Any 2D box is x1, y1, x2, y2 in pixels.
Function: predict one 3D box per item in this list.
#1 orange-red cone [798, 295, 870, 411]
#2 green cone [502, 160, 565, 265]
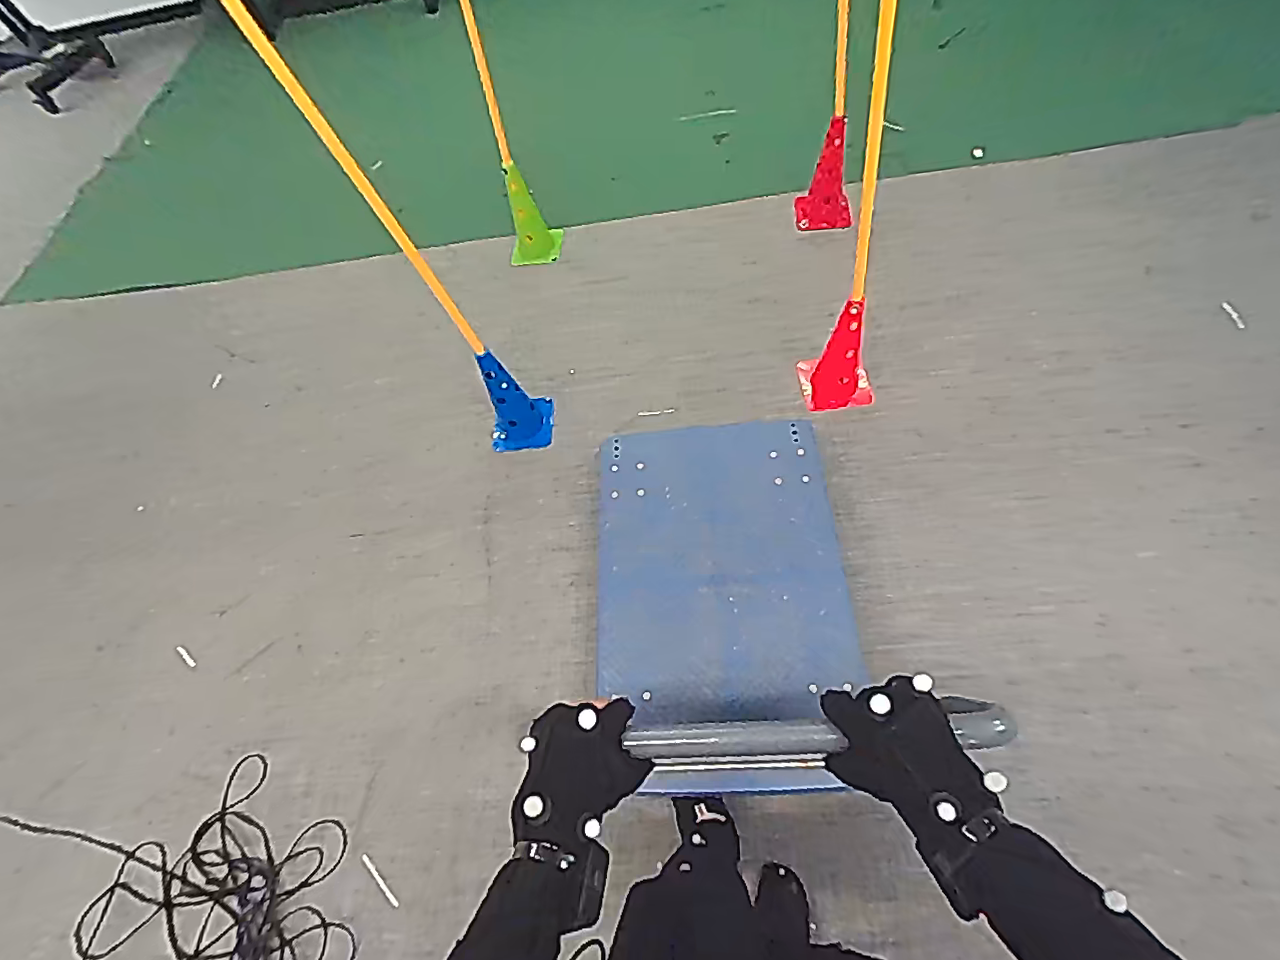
[{"bbox_3d":[0.585,-0.386,1.564,0.199,0.360,0.198,-7,61,7],"label":"orange-red cone"},{"bbox_3d":[-0.439,-1.043,2.074,0.202,0.368,0.200,-2,61,9],"label":"green cone"}]
